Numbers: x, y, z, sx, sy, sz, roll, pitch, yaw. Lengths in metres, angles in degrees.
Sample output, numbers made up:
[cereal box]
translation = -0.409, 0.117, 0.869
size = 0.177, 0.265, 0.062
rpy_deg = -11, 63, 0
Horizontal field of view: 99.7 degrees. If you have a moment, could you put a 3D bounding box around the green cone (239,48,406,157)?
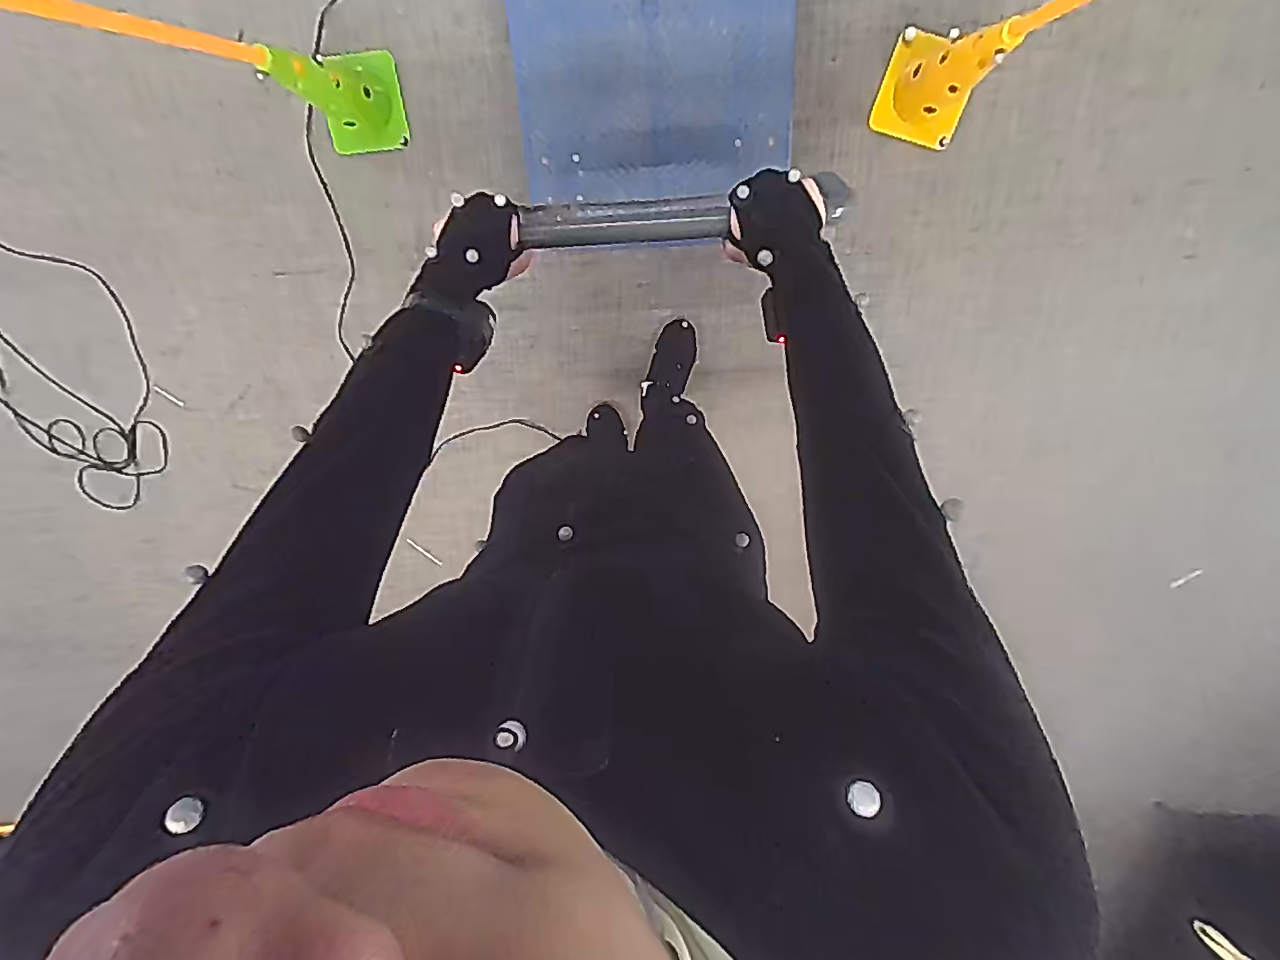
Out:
[green cone]
translation = -0.697, -0.843, 1.155
size = 0.202, 0.368, 0.200
rpy_deg = -3, 112, 7
